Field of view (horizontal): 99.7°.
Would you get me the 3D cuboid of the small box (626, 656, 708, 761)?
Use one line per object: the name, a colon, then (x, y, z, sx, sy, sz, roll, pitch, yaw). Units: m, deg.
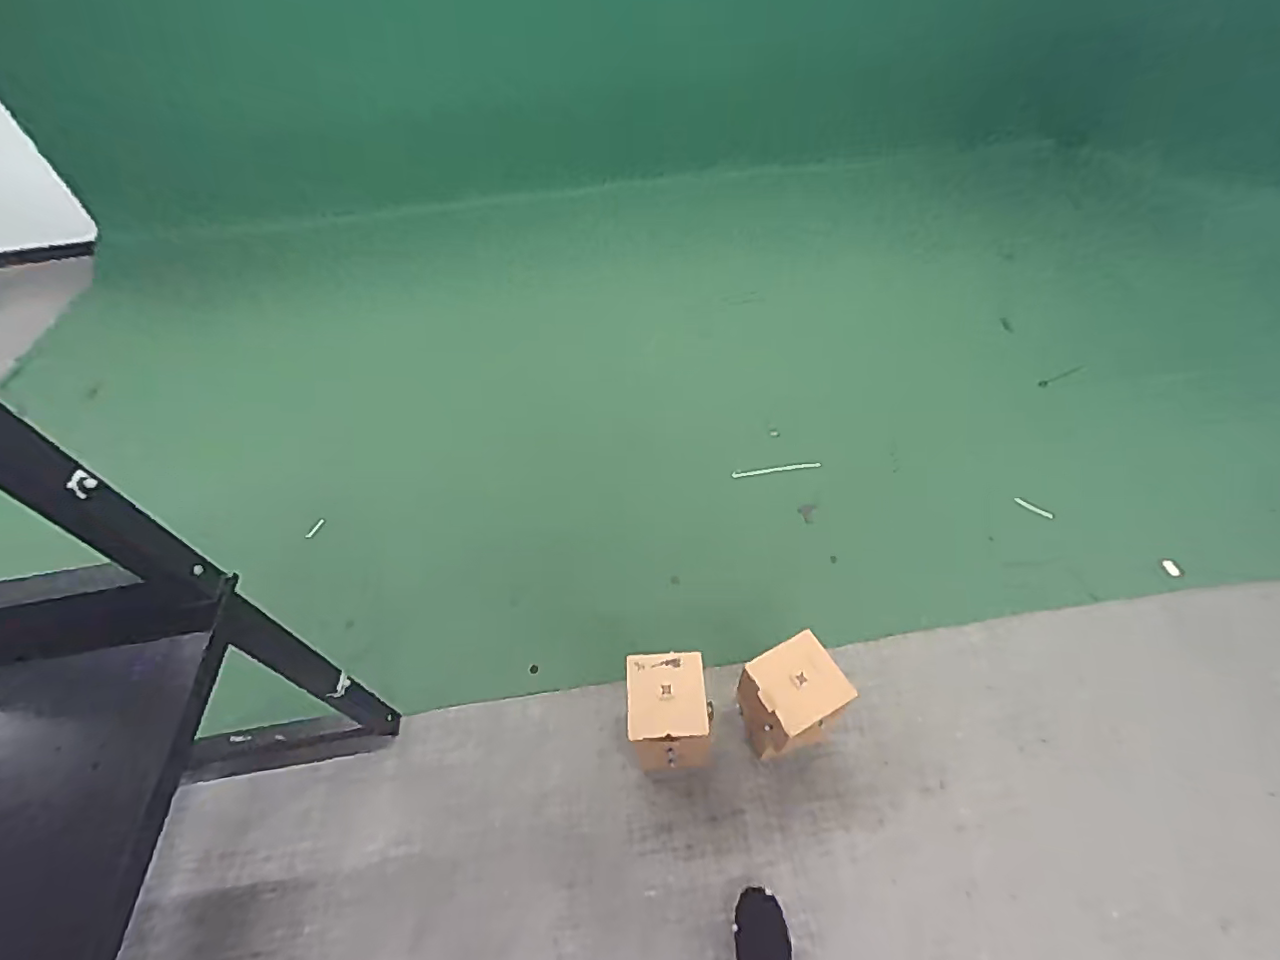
small box: (0.060, 0.502, 1.174, 0.168, 0.176, 0.179, -4, 50, 2)

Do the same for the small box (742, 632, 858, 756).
small box: (0.337, 0.471, 1.180, 0.179, 0.176, 0.168, -24, 55, -16)

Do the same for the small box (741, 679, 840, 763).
small box: (0.352, 0.565, 1.312, 0.179, 0.176, 0.168, -13, 51, -8)
